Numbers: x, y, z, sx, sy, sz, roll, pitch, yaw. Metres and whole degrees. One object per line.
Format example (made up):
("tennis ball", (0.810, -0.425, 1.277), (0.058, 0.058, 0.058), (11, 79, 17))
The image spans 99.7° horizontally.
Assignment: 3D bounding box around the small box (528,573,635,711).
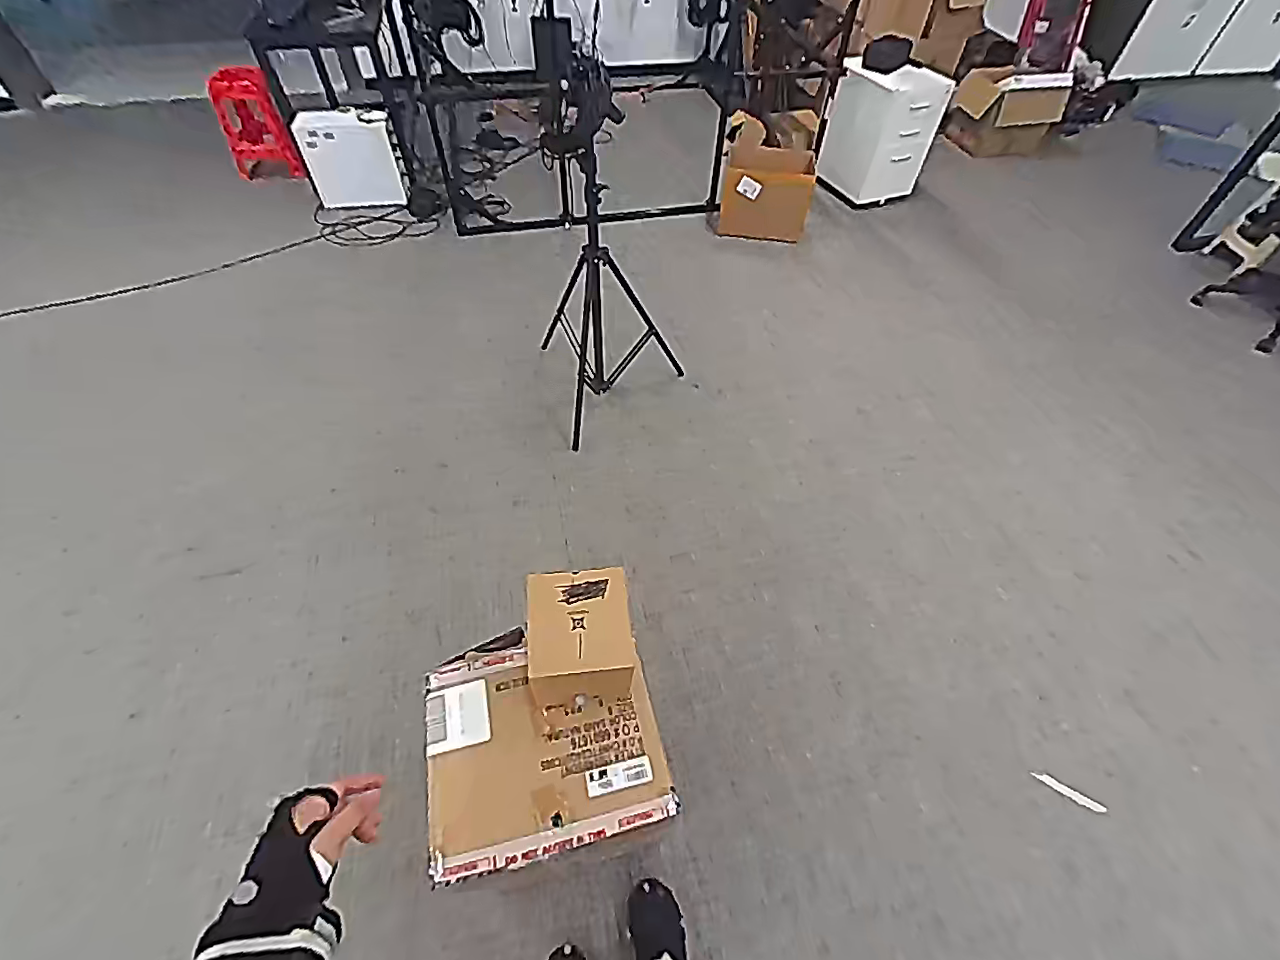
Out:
("small box", (-0.104, 0.279, 0.930), (0.168, 0.176, 0.179), (-3, 54, -7))
